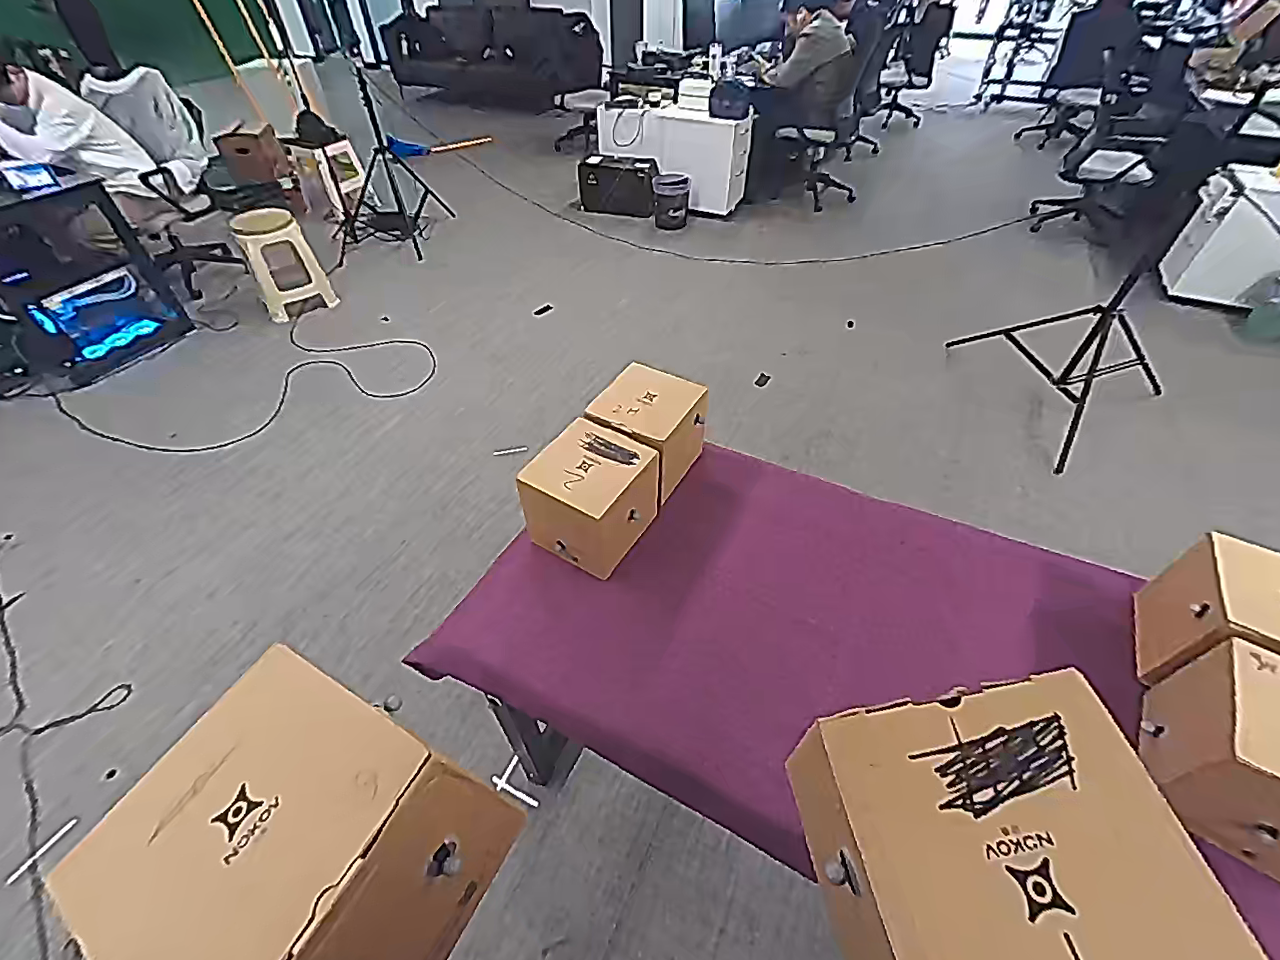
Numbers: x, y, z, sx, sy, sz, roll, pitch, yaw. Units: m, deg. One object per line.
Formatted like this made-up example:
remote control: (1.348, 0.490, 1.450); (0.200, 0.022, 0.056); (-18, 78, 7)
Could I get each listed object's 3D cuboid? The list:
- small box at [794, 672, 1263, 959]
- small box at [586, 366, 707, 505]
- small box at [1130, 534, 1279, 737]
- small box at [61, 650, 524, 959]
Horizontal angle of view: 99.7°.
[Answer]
small box: (0.210, 0.247, 0.346); (0.168, 0.176, 0.179); (-11, 54, -1)
small box: (0.013, -0.085, 1.043); (0.168, 0.176, 0.179); (23, 51, 21)
small box: (0.831, 0.216, 0.754); (0.168, 0.176, 0.179); (24, 50, 20)
small box: (-0.212, 0.255, 0.377); (0.179, 0.176, 0.168); (15, 52, 28)
